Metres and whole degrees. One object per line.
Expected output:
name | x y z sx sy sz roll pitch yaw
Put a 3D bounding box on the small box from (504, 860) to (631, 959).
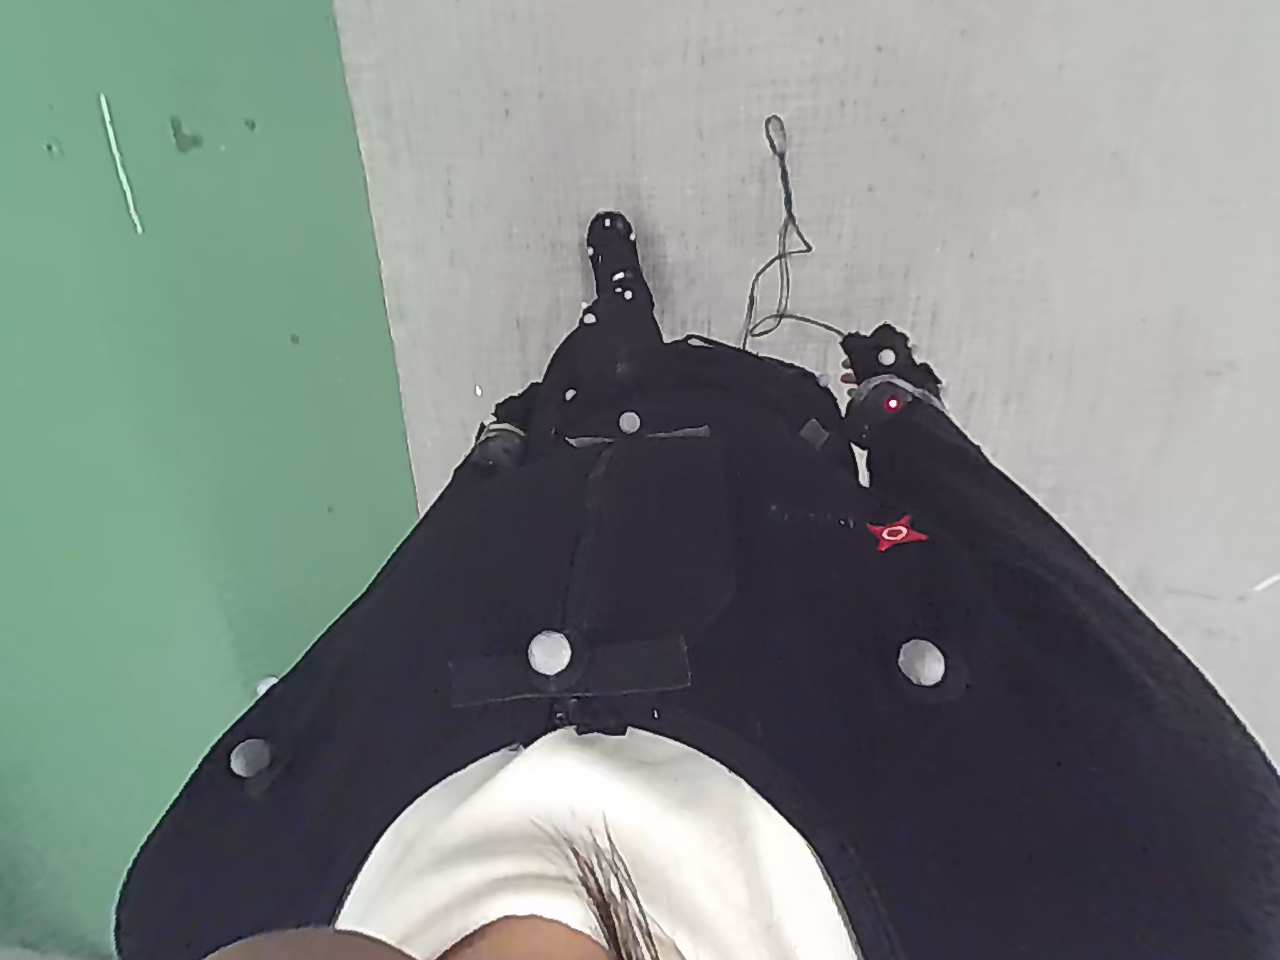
small box | -0.111 0.772 0.895 0.179 0.176 0.168 2 109 9
